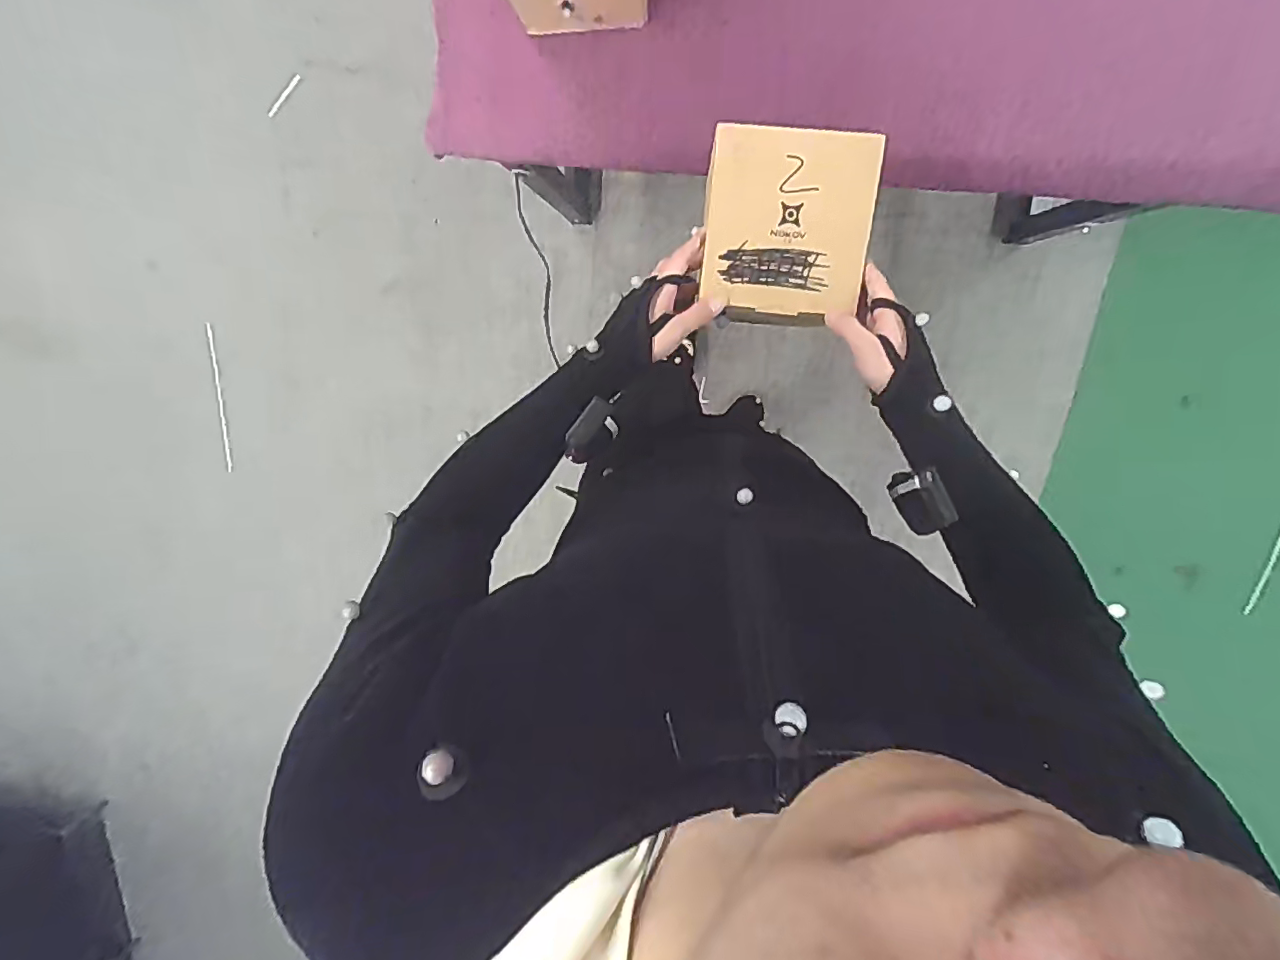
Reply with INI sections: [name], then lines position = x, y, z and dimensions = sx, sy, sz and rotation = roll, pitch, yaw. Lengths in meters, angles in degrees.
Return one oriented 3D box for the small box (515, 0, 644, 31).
[small box]
position = -0.084, -0.671, 0.628
dimensions = 0.168, 0.176, 0.179
rotation = 0, 106, 6
